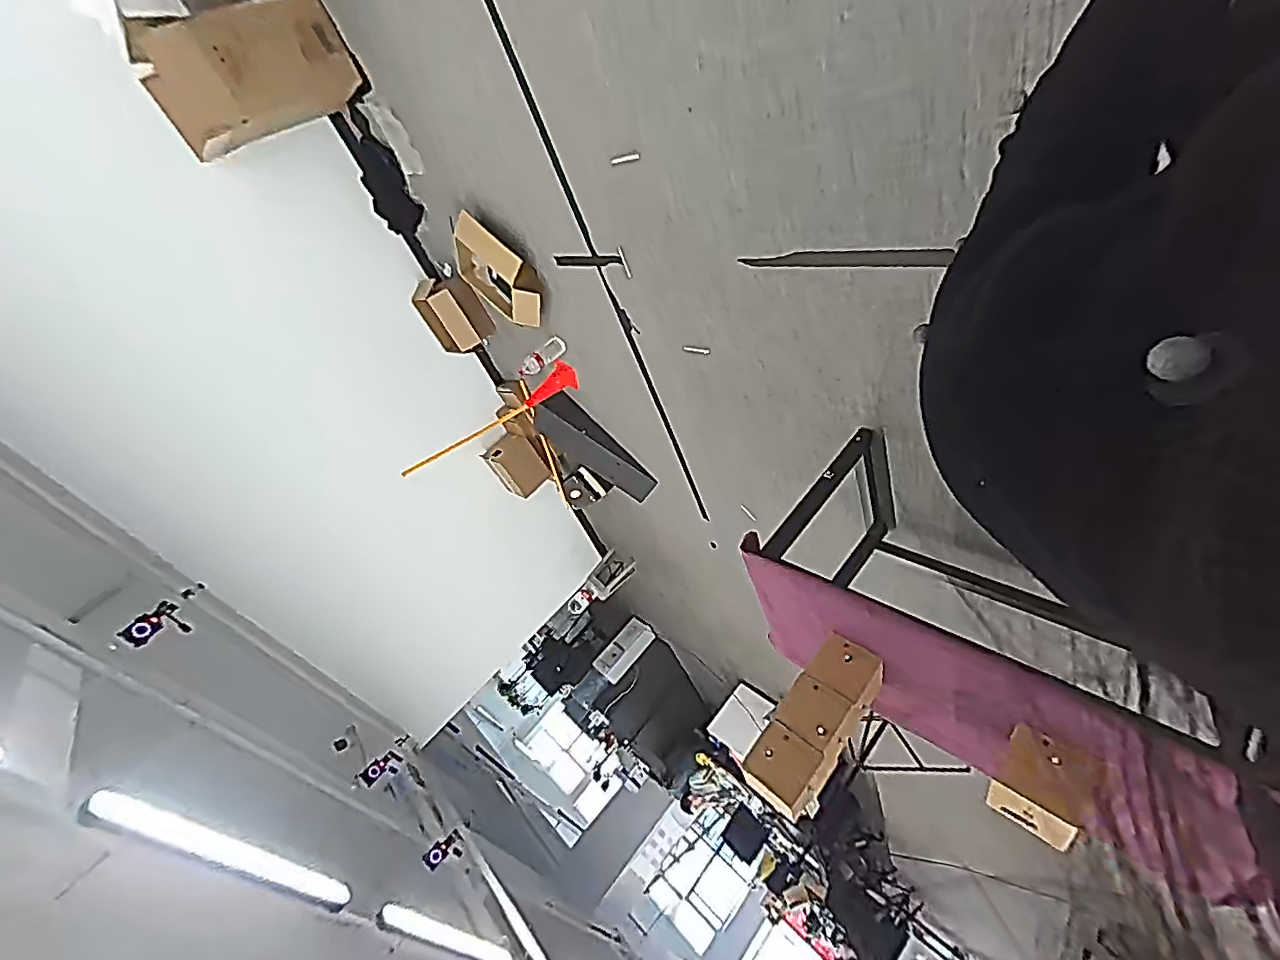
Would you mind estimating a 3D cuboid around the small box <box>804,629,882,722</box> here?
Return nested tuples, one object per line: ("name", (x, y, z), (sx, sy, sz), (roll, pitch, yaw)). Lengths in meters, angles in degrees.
("small box", (0.623, 0.594, 1.652), (0.168, 0.176, 0.179), (25, 150, 39))

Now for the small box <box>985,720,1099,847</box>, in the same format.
("small box", (0.950, 0.714, 1.283), (0.168, 0.176, 0.179), (24, 148, 43))

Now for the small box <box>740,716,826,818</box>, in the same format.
("small box", (0.408, 0.802, 1.523), (0.168, 0.176, 0.179), (28, 154, 38))
